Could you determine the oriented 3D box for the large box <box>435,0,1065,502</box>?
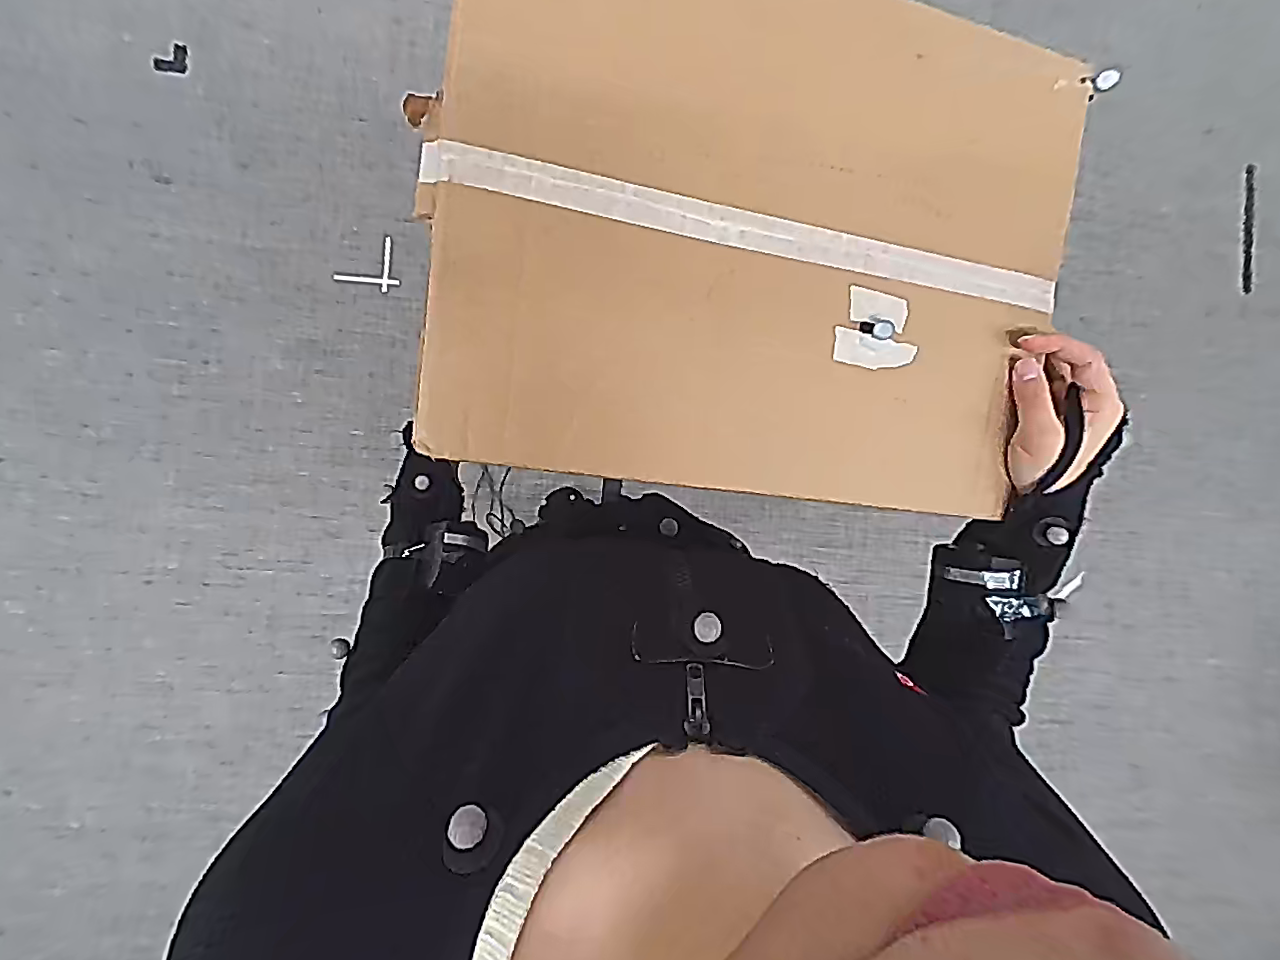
[{"bbox_3d":[0.054,-0.166,0.483,0.408,0.320,0.320,6,95,-15],"label":"large box"}]
